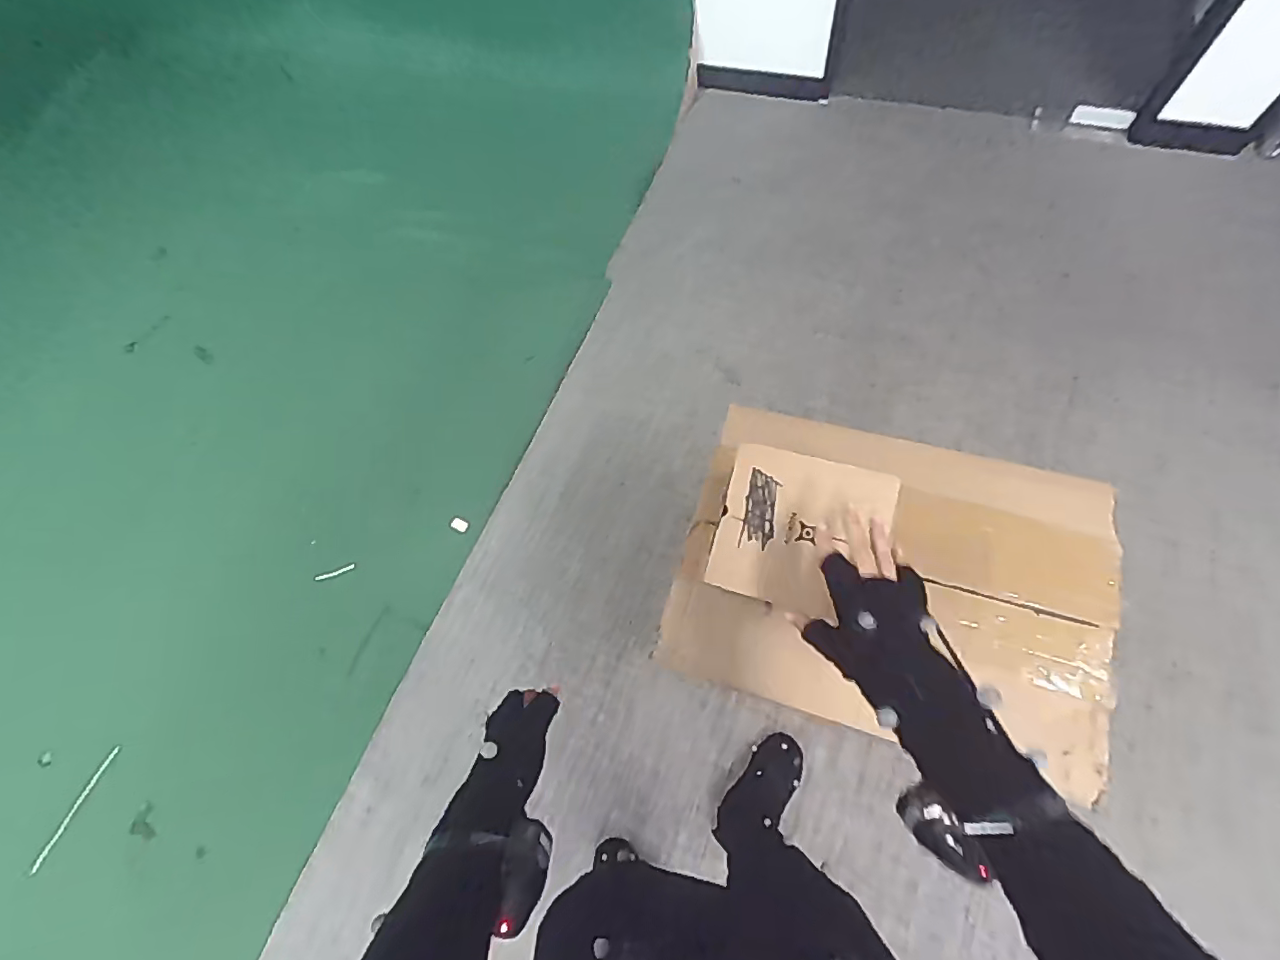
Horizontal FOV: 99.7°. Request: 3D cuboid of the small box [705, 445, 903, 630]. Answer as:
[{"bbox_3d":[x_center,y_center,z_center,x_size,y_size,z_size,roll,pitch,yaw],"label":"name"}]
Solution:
[{"bbox_3d":[0.189,0.074,0.654,0.179,0.176,0.168,14,81,13],"label":"small box"}]
